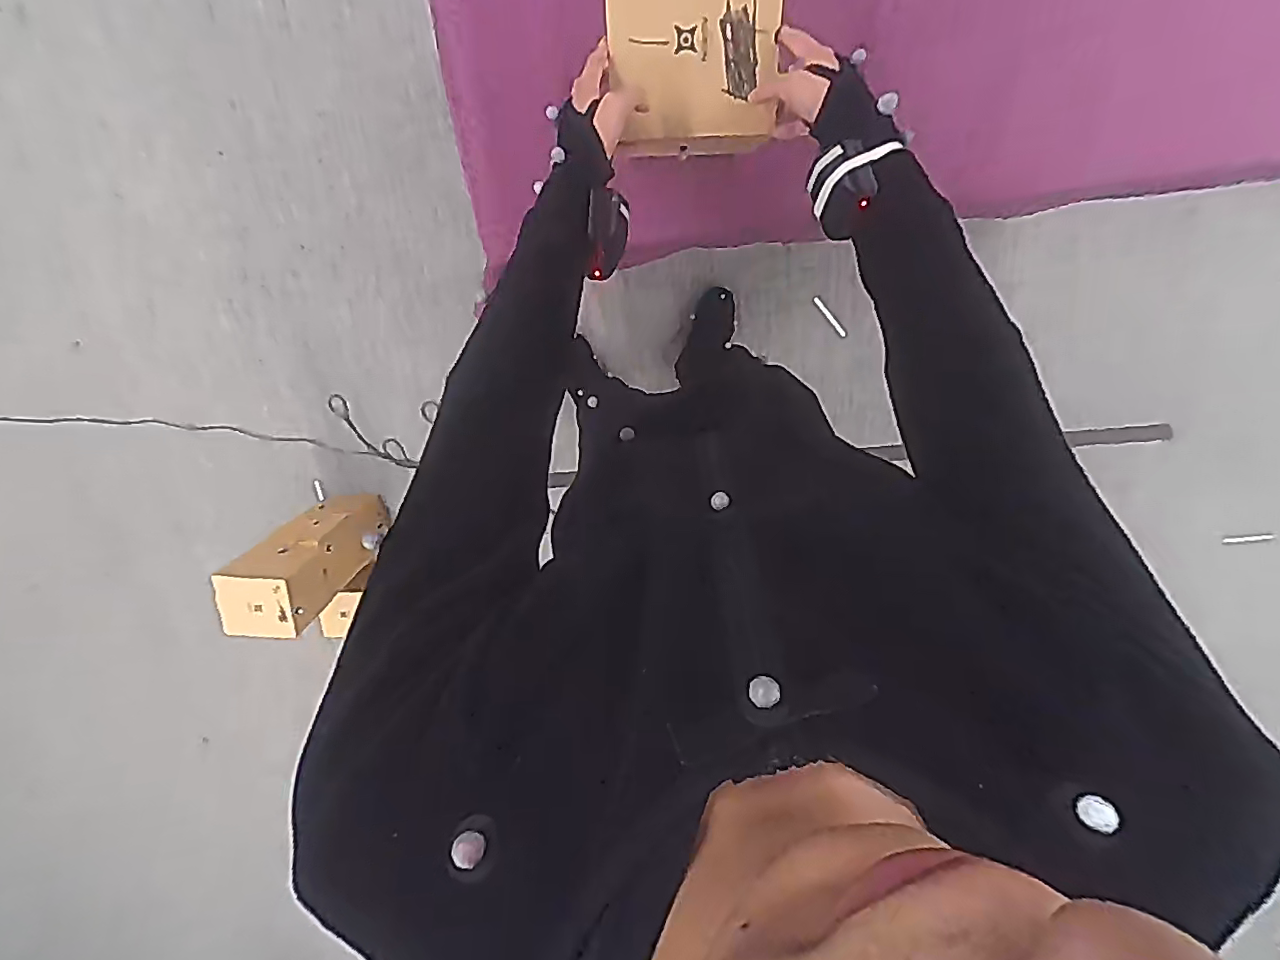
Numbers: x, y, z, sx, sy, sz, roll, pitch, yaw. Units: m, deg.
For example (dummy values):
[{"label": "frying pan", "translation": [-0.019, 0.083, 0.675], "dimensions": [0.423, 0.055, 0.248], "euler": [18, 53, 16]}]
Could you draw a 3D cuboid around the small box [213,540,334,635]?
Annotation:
[{"label": "small box", "translation": [-0.906, 0.262, 1.352], "dimensions": [0.179, 0.176, 0.168], "euler": [4, 111, 0]}]

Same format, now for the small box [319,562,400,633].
[{"label": "small box", "translation": [-0.904, 0.374, 1.742], "dimensions": [0.179, 0.176, 0.168], "euler": [0, 112, 1]}]

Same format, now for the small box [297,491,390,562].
[{"label": "small box", "translation": [-0.904, 0.143, 1.656], "dimensions": [0.179, 0.176, 0.168], "euler": [-5, 111, 2]}]

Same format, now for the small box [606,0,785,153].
[{"label": "small box", "translation": [0.055, -0.474, 0.608], "dimensions": [0.179, 0.176, 0.168], "euler": [-1, 115, 2]}]

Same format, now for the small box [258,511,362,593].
[{"label": "small box", "translation": [-0.905, 0.201, 1.505], "dimensions": [0.168, 0.176, 0.179], "euler": [-3, 111, 2]}]
